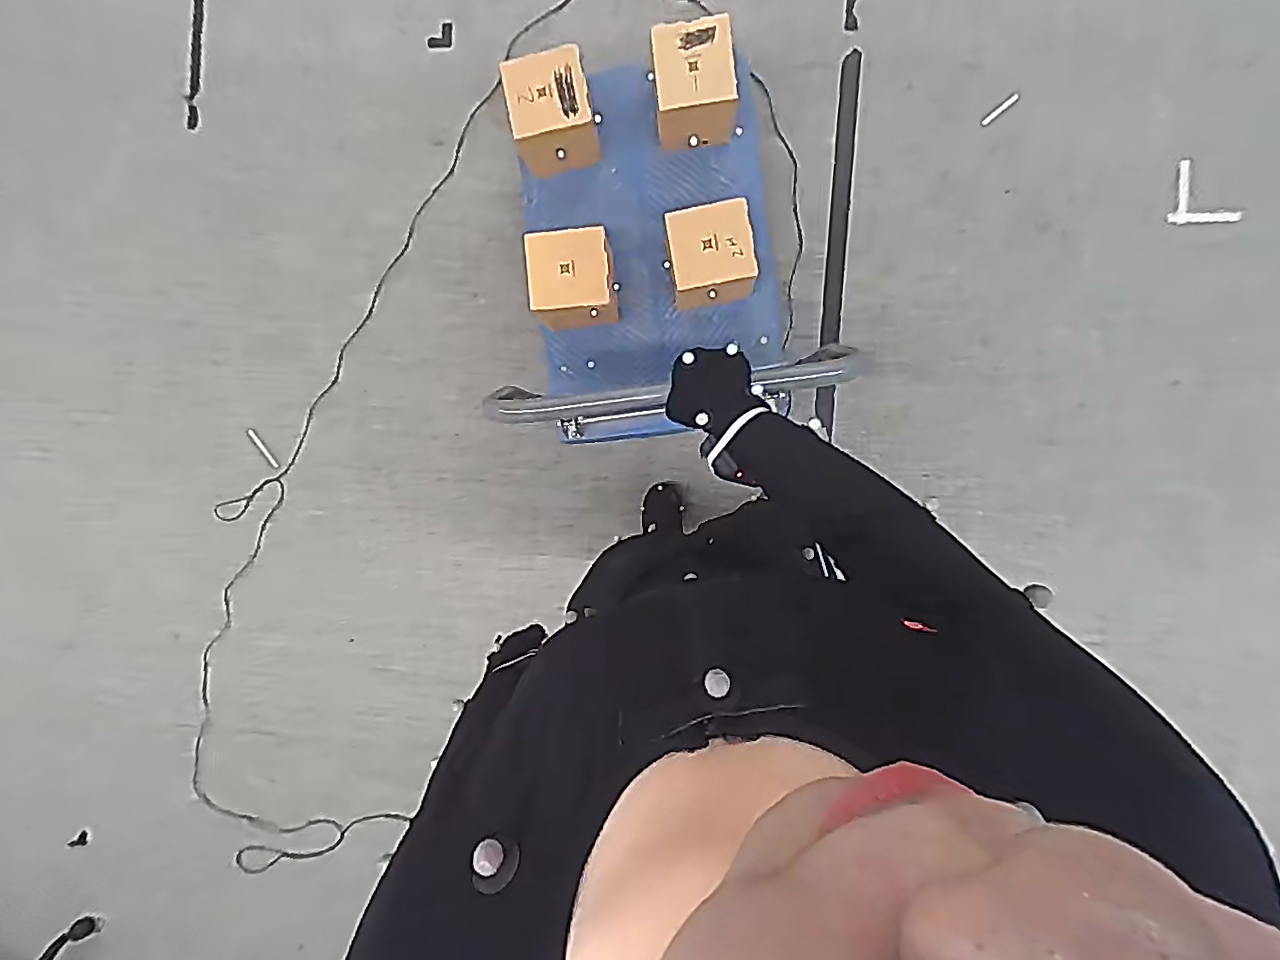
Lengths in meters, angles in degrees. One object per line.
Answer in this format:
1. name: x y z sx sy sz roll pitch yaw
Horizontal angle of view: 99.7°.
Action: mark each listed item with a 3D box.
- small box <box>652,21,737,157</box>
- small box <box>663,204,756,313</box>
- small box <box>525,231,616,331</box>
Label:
1. small box: 0.117 -0.861 1.204 0.168 0.176 0.179 -6 93 4
2. small box: 0.153 -0.487 1.216 0.179 0.176 0.168 -9 92 4
3. small box: -0.153 -0.447 1.239 0.179 0.176 0.168 -4 91 2
